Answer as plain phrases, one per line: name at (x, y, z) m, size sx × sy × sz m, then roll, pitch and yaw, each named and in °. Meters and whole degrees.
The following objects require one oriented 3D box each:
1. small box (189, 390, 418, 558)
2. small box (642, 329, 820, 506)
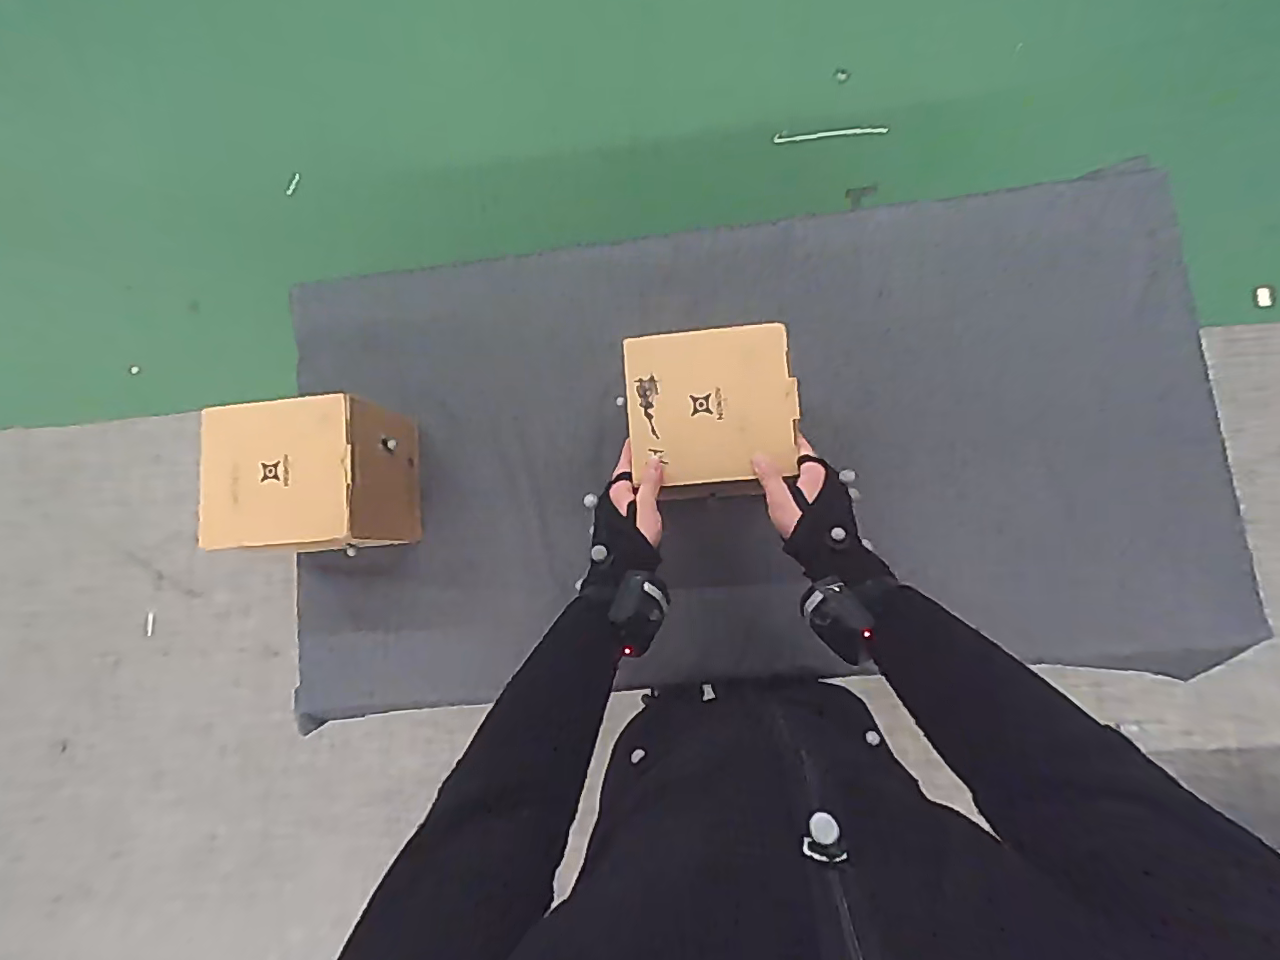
small box at (-0.383, 0.004, 0.648) m, size 0.179 × 0.176 × 0.168 m, roll -6°, pitch 79°, yaw 3°
small box at (0.094, -0.062, 0.635) m, size 0.179 × 0.176 × 0.168 m, roll -4°, pitch 81°, yaw 2°
